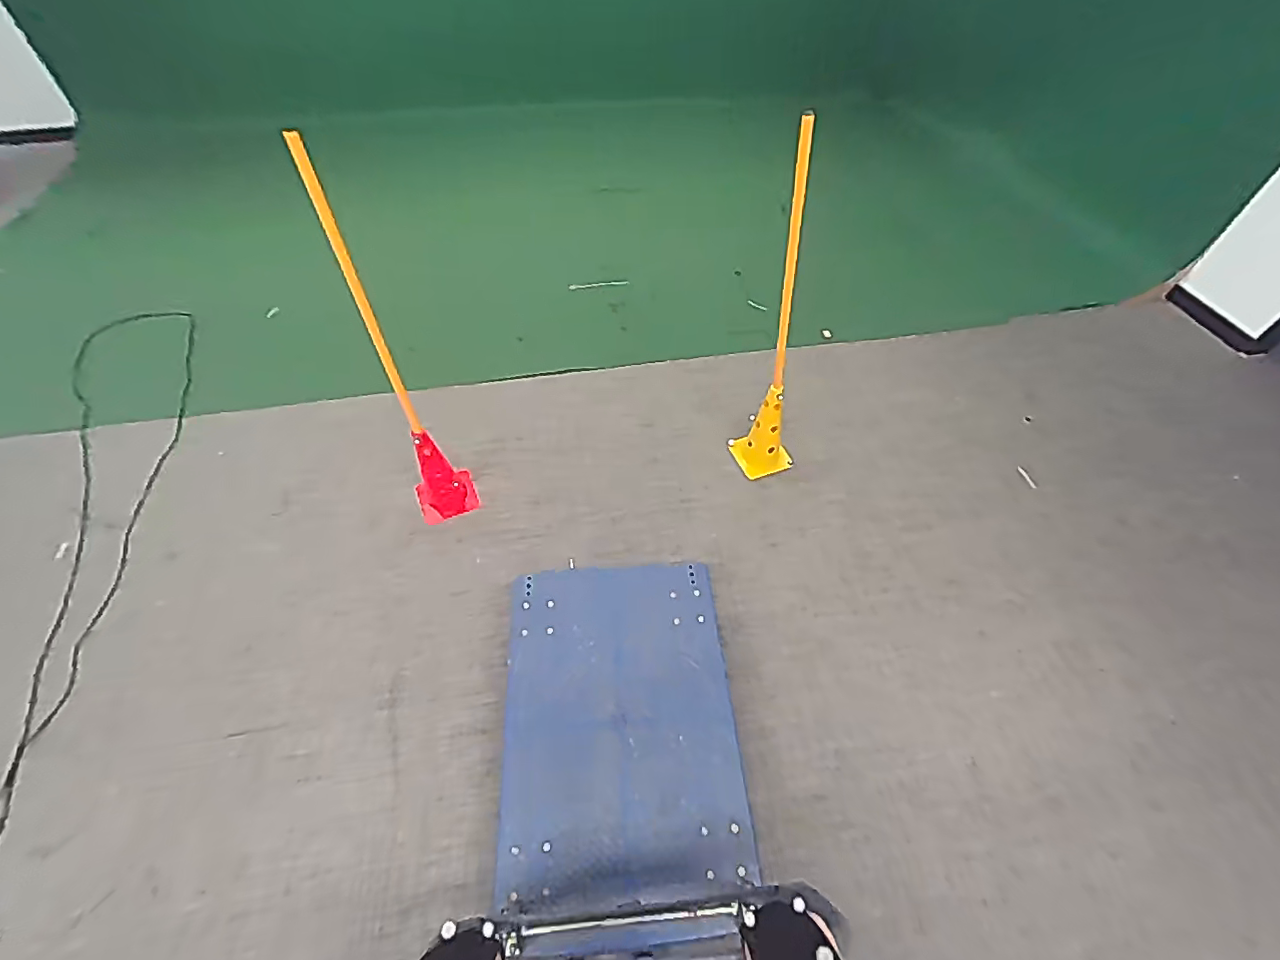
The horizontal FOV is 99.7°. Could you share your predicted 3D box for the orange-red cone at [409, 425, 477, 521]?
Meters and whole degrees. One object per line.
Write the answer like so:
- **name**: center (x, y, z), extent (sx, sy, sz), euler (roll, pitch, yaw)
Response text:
- **orange-red cone**: center (-0.706, -0.053, 1.831), extent (0.199, 0.360, 0.198), euler (-20, 55, -14)
